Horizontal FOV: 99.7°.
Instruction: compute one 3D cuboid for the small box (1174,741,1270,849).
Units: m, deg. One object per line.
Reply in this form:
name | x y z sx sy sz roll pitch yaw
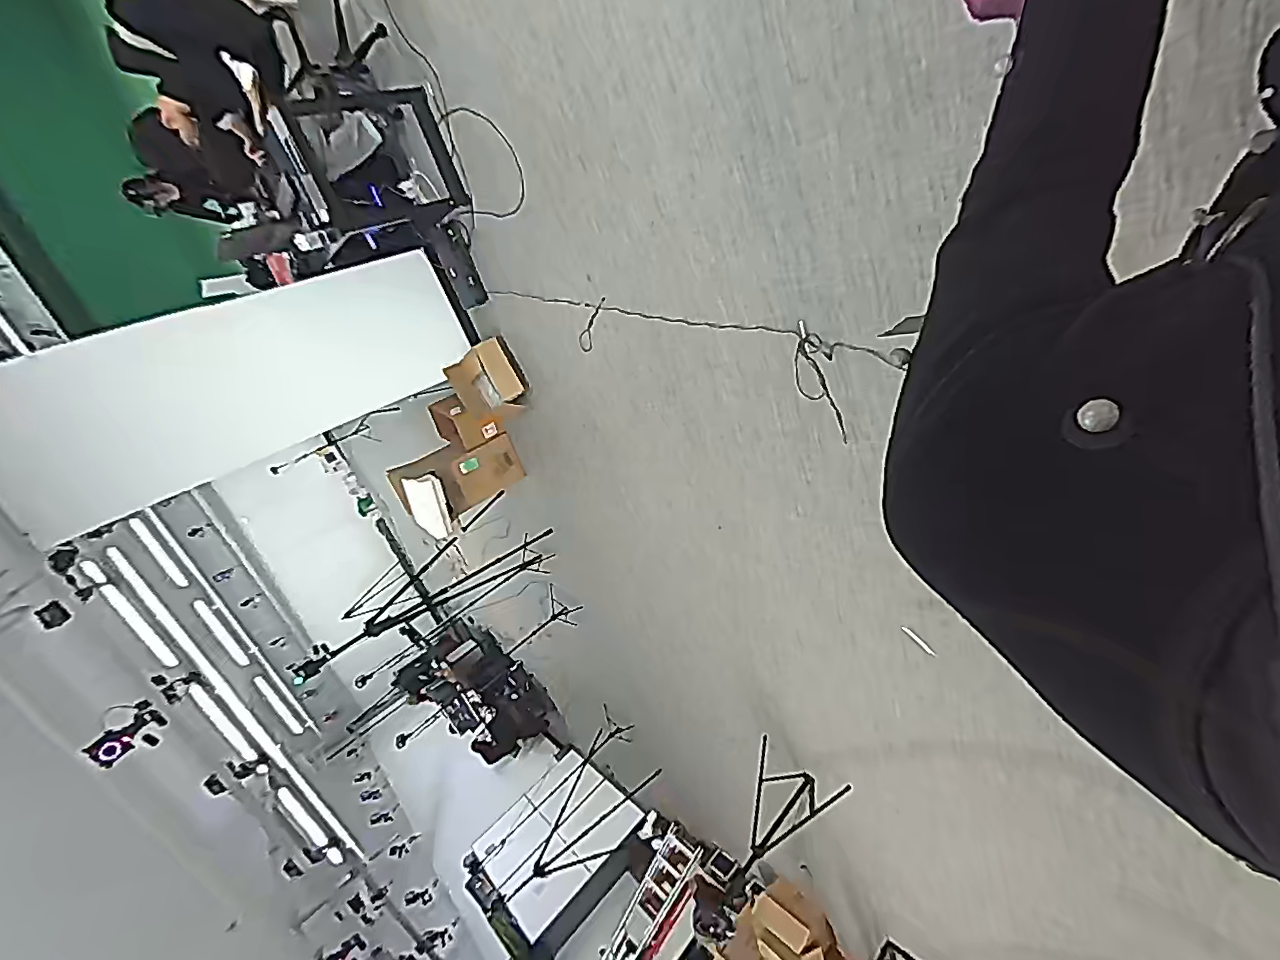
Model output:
small box | 1.676 0.897 1.557 0.168 0.176 0.179 12 129 49
